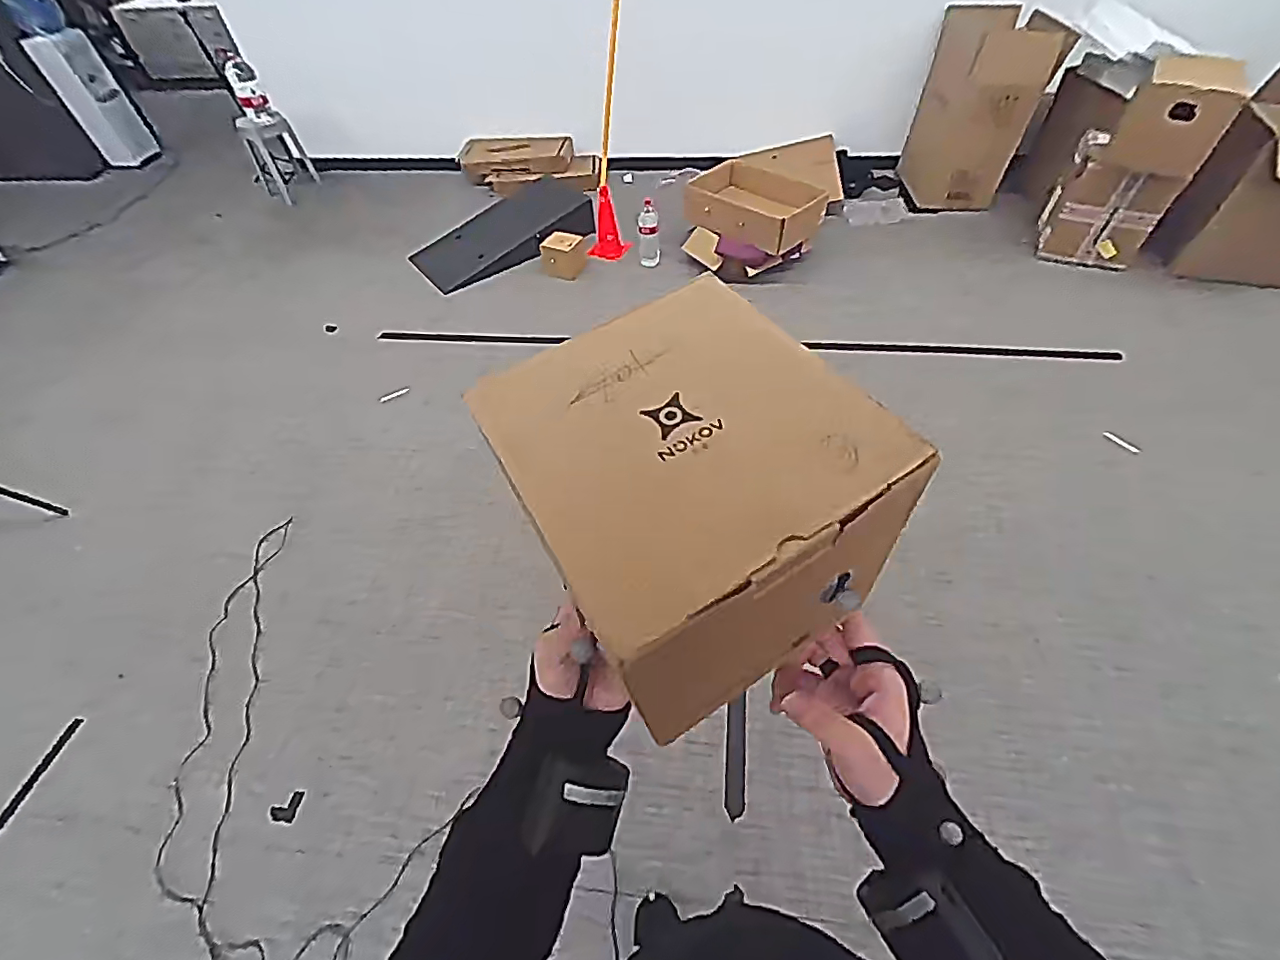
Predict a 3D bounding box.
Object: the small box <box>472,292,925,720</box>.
[{"bbox_3d":[0.028,0.024,0.336,0.168,0.176,0.179,-30,56,-14],"label":"small box"}]
